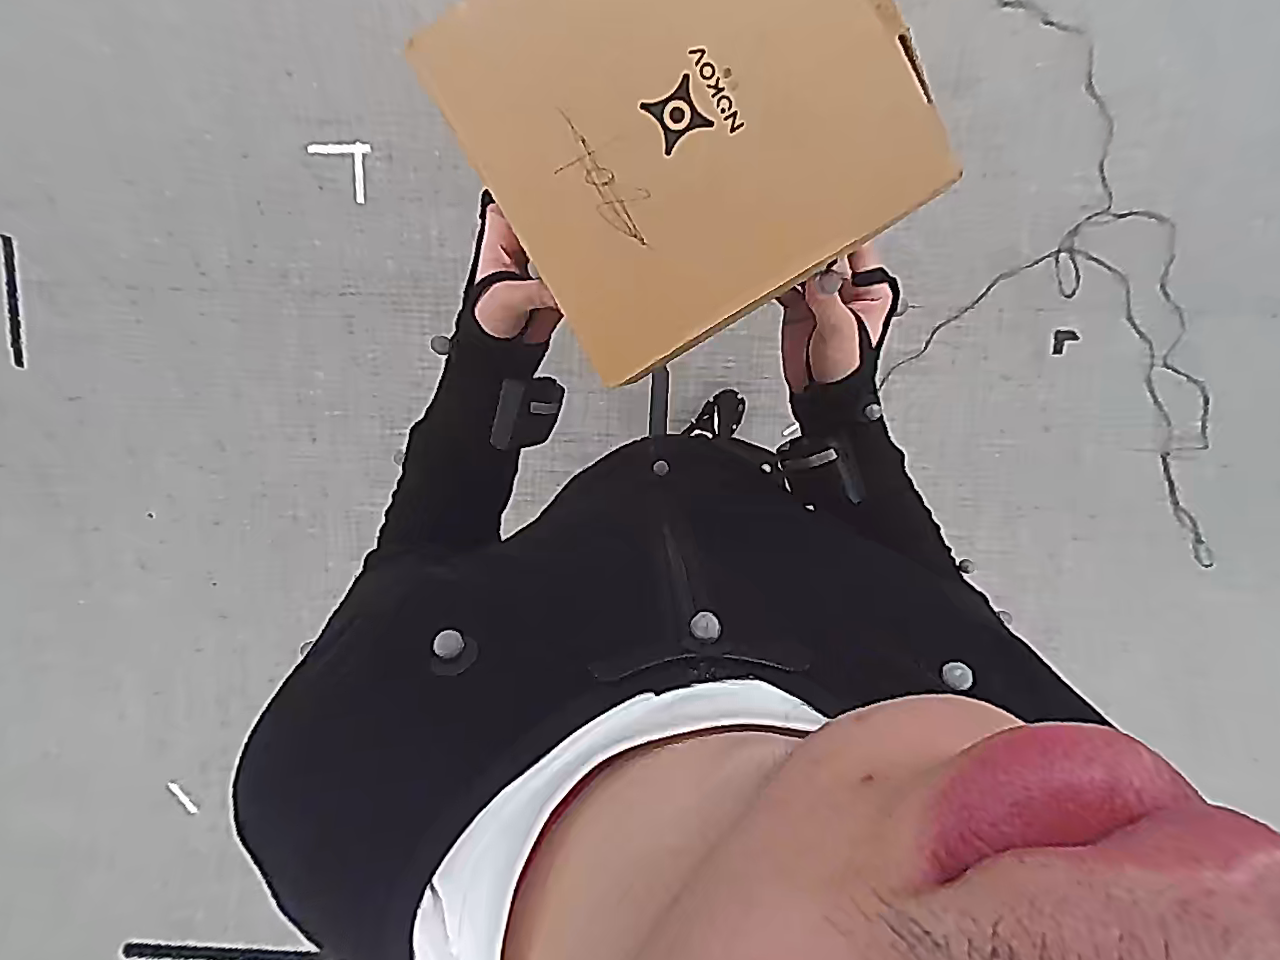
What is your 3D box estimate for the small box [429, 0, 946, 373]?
[{"bbox_3d":[0.024,-0.177,0.312,0.179,0.176,0.168,-30,98,8],"label":"small box"}]
